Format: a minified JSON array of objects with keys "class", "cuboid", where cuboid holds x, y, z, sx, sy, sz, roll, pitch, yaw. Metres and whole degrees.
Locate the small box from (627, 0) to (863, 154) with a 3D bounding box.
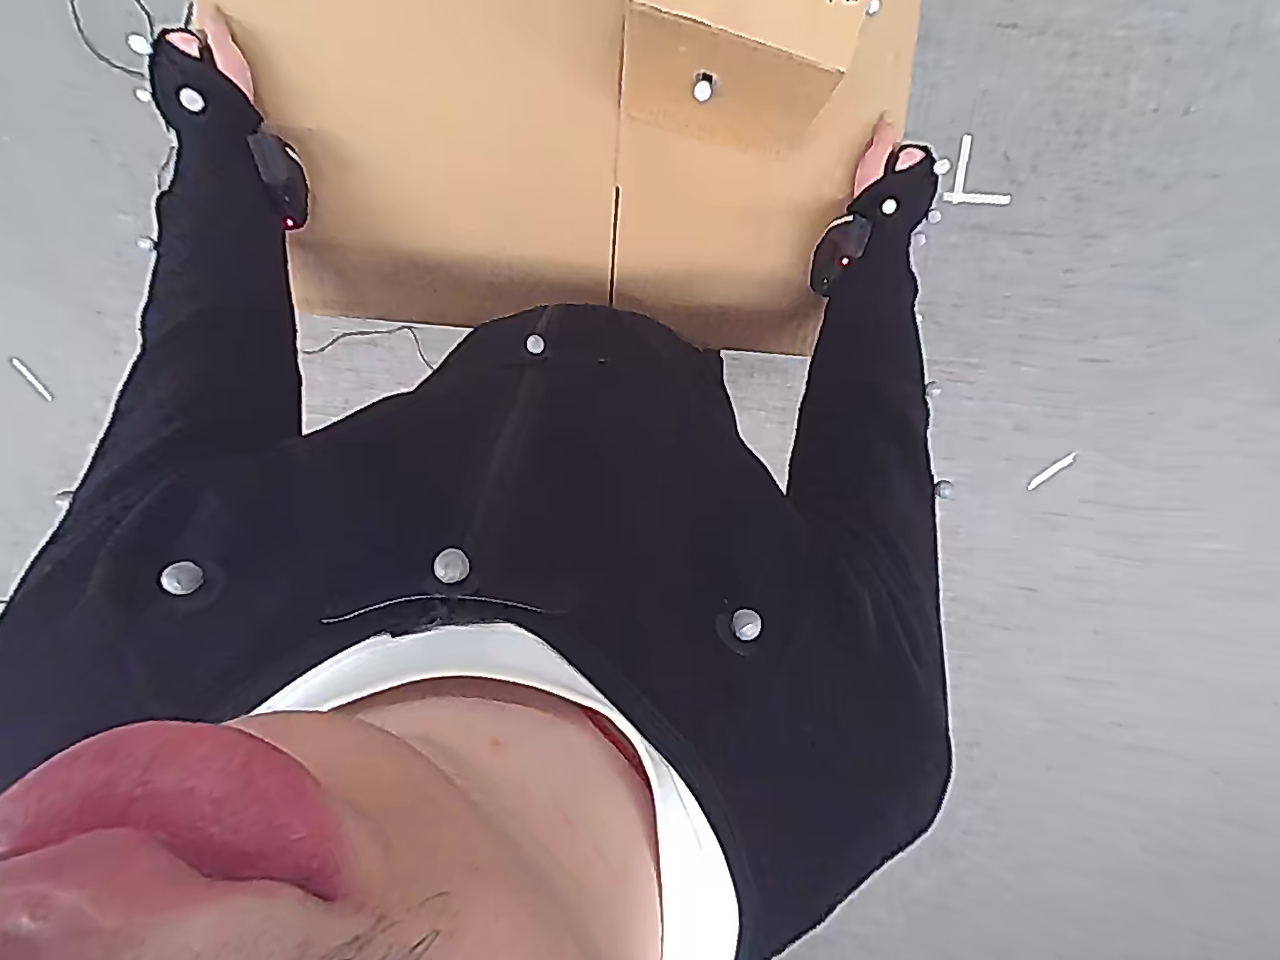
[{"class":"small box","cuboid":[0.093,-0.425,0.480,0.179,0.176,0.168,15,99,-3]}]
